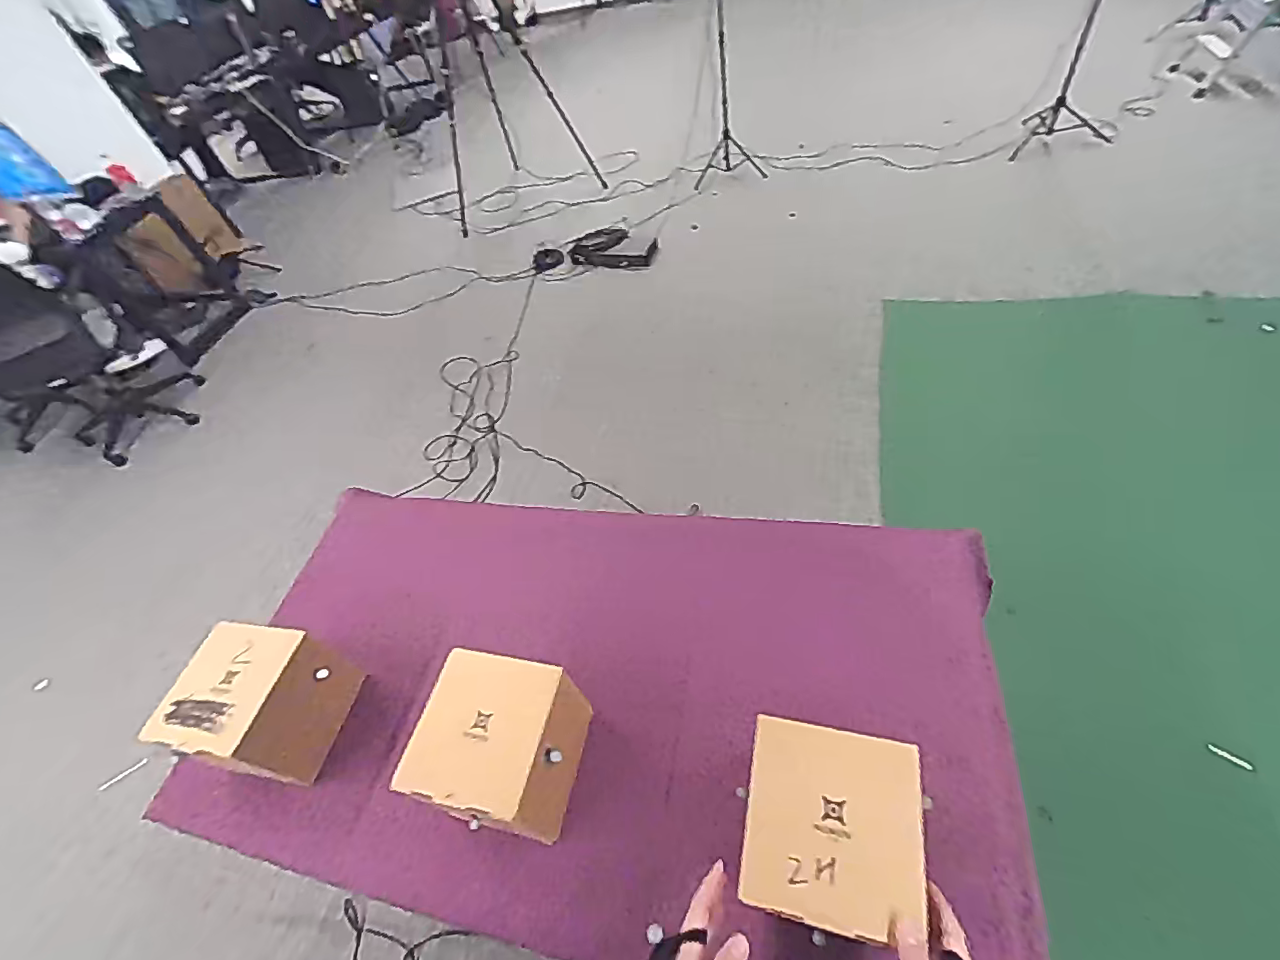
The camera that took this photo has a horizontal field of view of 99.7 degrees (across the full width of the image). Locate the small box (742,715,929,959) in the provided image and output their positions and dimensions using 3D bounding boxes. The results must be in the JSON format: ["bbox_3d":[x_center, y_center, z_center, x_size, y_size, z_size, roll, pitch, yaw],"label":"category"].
[{"bbox_3d":[0.210,0.390,0.600,0.168,0.176,0.179,5,54,18],"label":"small box"}]

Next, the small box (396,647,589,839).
[{"bbox_3d":[-0.178,0.351,0.723,0.168,0.176,0.179,5,53,16],"label":"small box"}]
